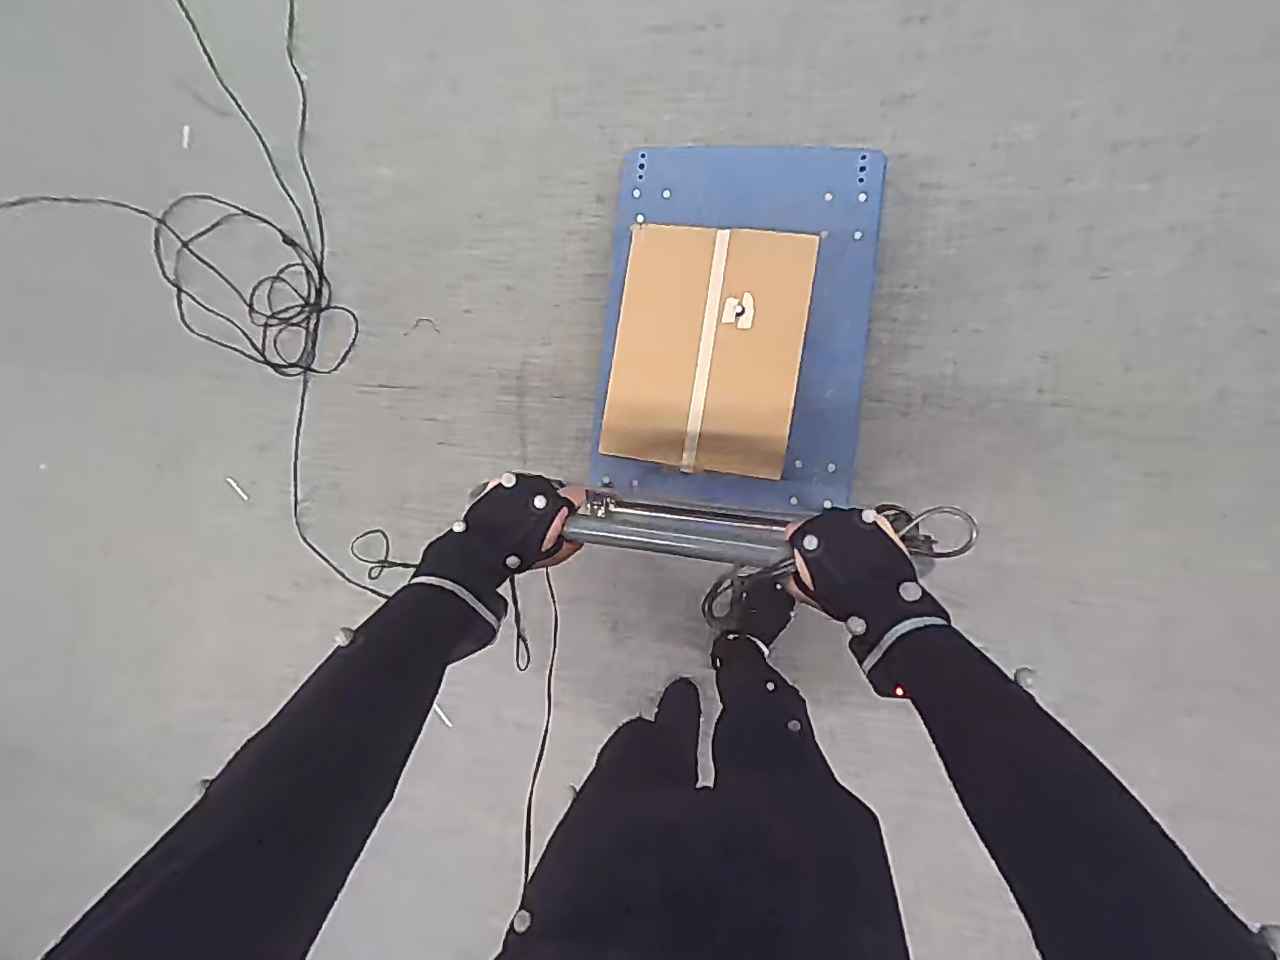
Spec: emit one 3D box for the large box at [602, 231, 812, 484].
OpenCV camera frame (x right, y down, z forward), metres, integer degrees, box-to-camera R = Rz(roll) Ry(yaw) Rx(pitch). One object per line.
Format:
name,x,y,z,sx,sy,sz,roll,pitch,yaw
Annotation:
large box,0.135,-0.211,1.059,0.320,0.320,0.408,9,90,10
